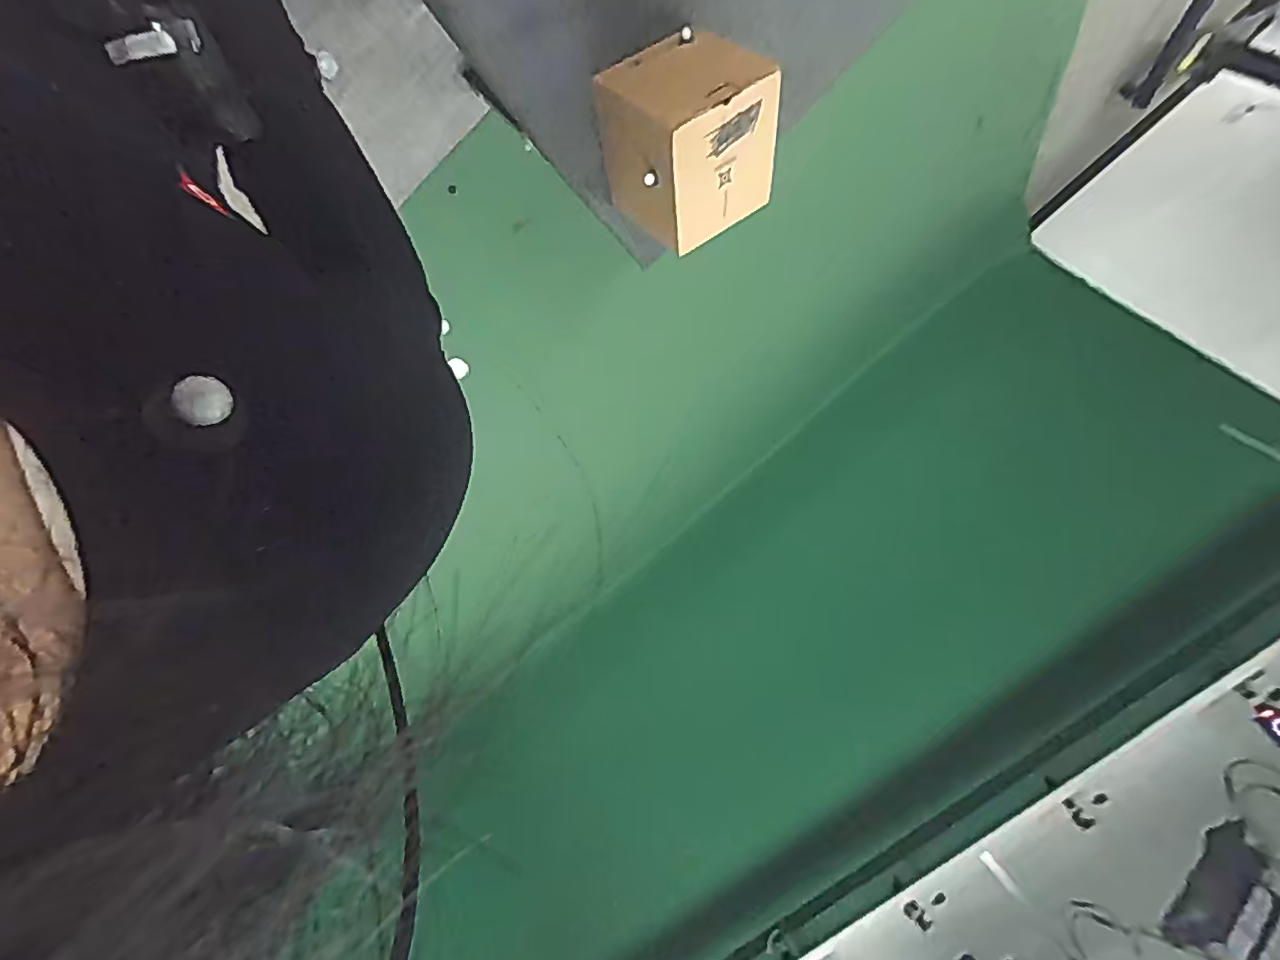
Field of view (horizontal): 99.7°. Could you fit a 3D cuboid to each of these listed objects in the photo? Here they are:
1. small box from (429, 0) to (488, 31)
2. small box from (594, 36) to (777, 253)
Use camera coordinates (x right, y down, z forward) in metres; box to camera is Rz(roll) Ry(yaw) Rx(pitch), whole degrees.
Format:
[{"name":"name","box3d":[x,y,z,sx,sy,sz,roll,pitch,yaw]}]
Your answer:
[{"name":"small box","box3d":[-0.360,-0.990,0.986,0.179,0.176,0.168,-45,154,14]},{"name":"small box","box3d":[0.057,-0.449,0.719,0.168,0.176,0.179,-35,153,-11]}]
